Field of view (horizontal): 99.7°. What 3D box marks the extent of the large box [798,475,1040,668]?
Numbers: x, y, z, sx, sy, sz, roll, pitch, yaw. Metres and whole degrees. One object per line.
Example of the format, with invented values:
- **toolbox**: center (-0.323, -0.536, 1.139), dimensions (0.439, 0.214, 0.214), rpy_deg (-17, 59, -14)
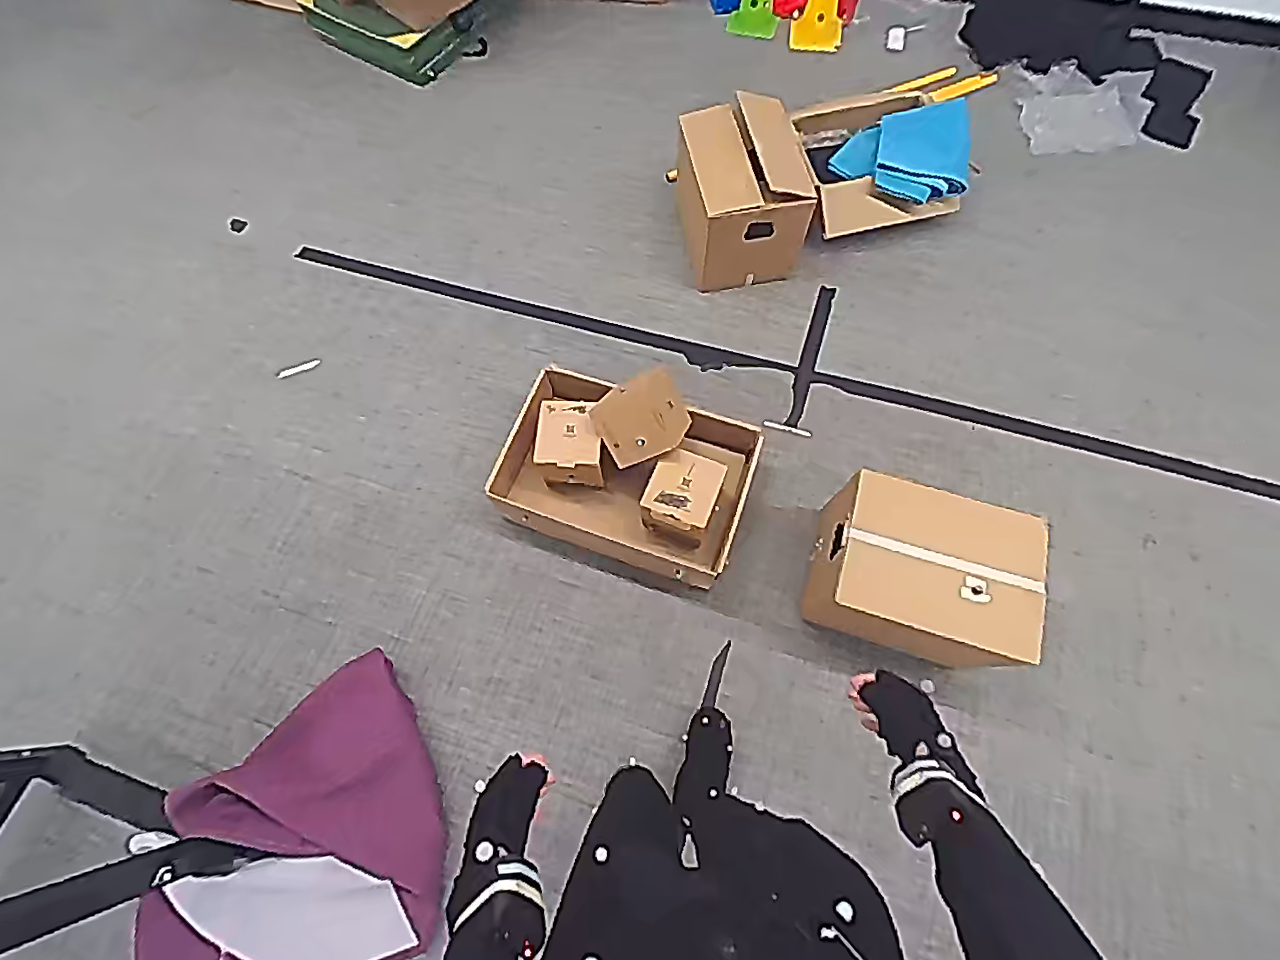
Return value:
- **large box**: center (0.629, 0.226, 1.274), dimensions (0.408, 0.320, 0.320), rpy_deg (16, 71, 7)
